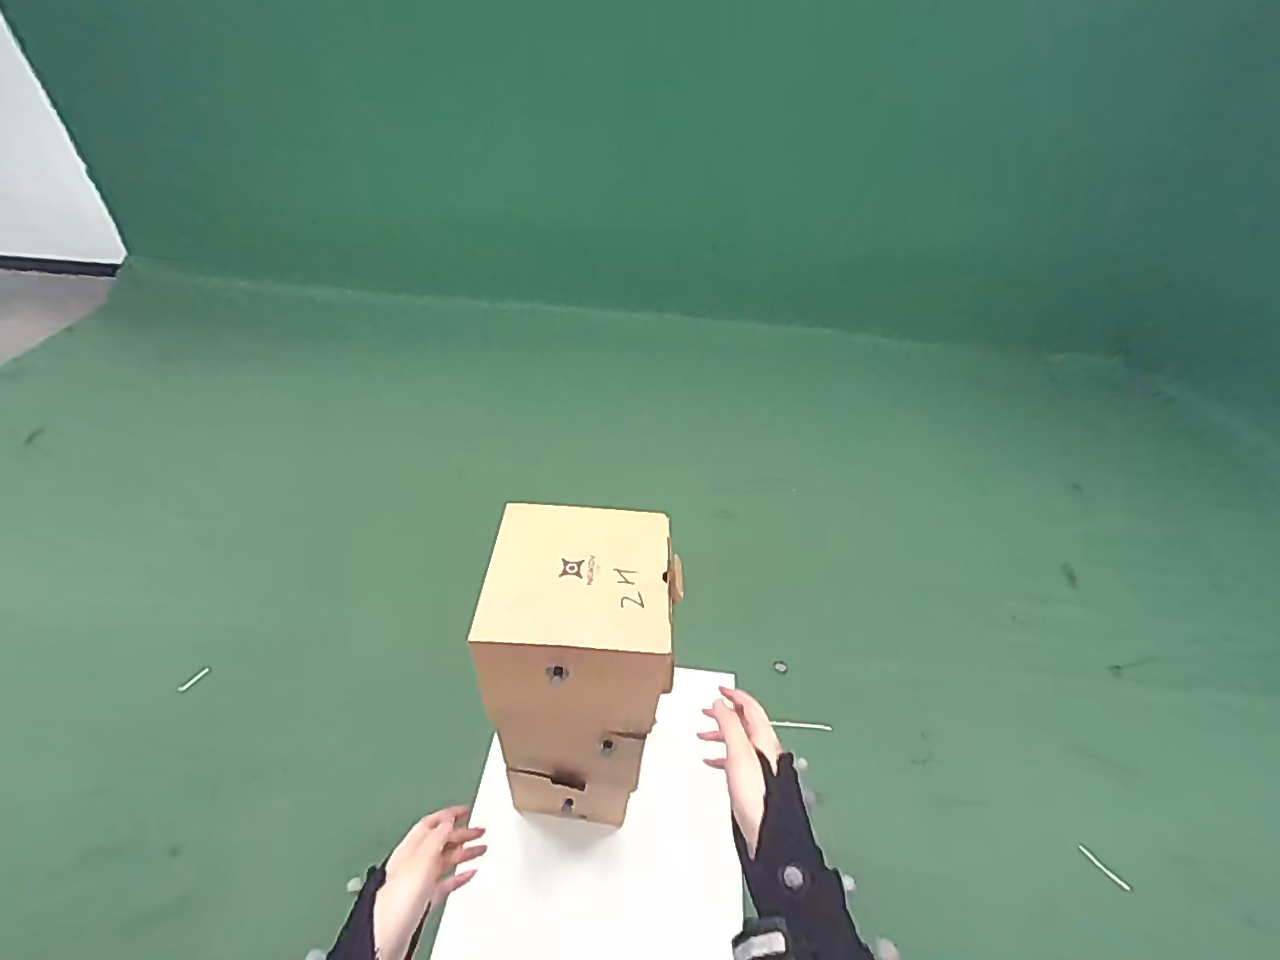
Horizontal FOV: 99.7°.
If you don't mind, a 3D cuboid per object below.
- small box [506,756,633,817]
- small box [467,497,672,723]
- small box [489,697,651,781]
[{"bbox_3d":[-0.085,0.370,0.792,0.168,0.176,0.179,7,44,1],"label":"small box"},{"bbox_3d":[-0.062,0.137,0.563,0.179,0.176,0.168,4,44,-3],"label":"small box"},{"bbox_3d":[-0.070,0.254,0.679,0.179,0.176,0.168,9,43,3],"label":"small box"}]
